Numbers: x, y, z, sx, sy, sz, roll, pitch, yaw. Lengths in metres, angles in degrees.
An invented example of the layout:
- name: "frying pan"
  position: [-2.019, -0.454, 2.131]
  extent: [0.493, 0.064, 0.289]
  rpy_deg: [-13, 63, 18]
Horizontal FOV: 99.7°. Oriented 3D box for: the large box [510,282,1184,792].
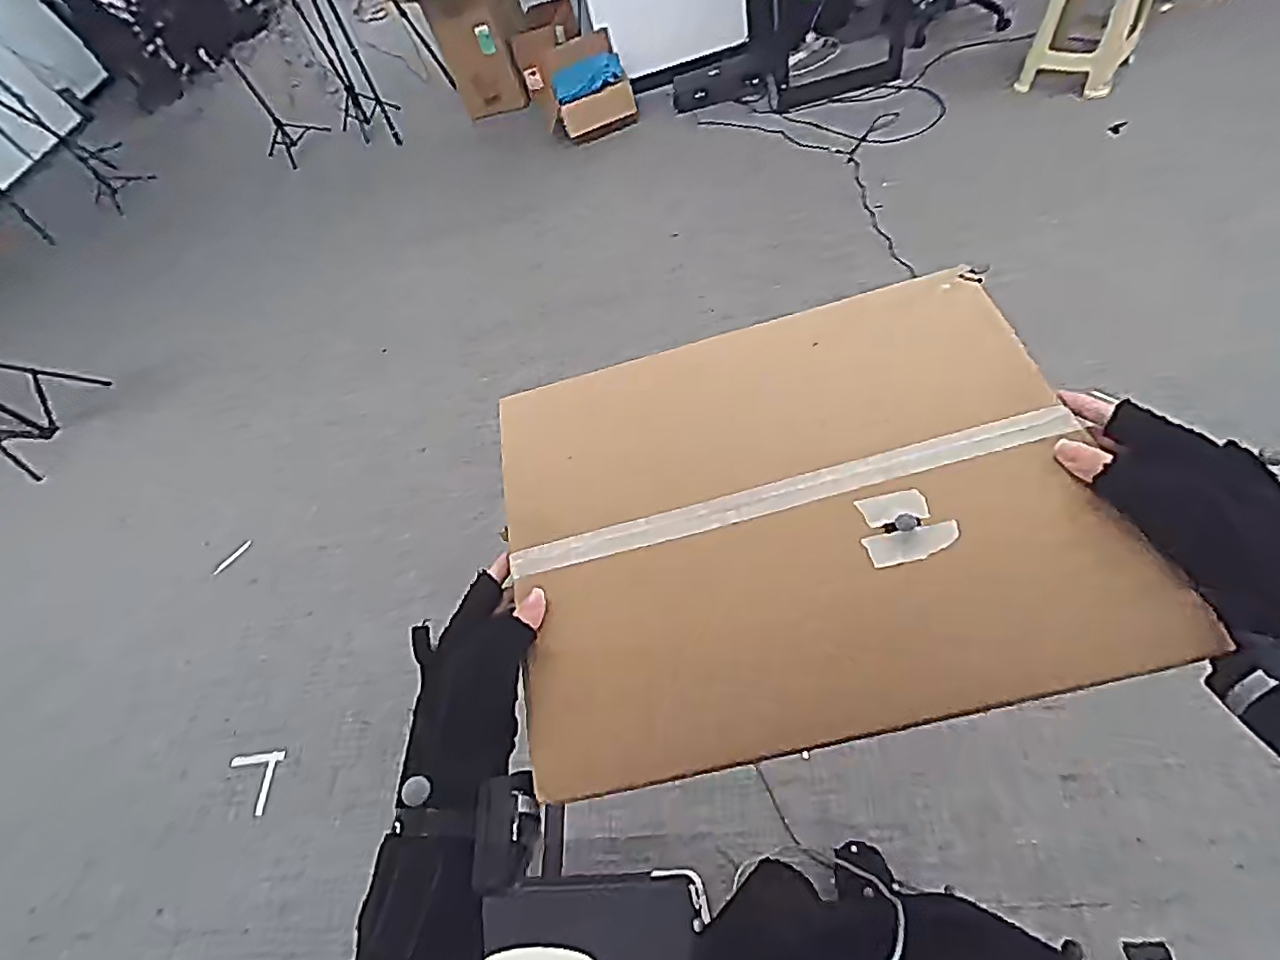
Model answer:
- name: "large box"
  position: [0.130, 0.081, 0.532]
  extent: [0.408, 0.320, 0.320]
  rpy_deg: [-16, 62, 4]
